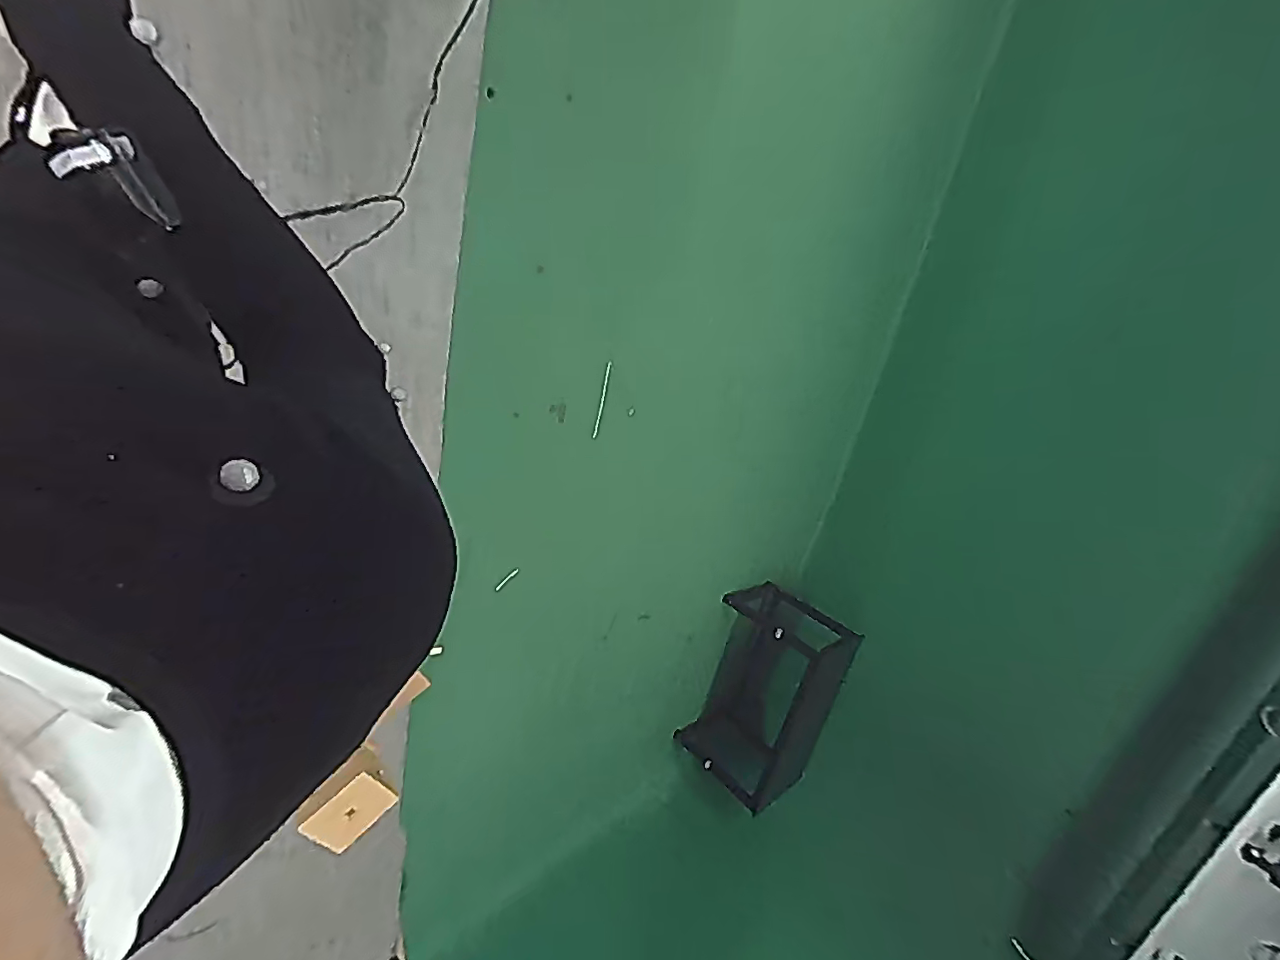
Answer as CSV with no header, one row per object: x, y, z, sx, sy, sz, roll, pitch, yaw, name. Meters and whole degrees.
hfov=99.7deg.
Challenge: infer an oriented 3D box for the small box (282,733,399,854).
-0.736,0.765,1.332,0.168,0.176,0.179,-39,134,-26,small box
